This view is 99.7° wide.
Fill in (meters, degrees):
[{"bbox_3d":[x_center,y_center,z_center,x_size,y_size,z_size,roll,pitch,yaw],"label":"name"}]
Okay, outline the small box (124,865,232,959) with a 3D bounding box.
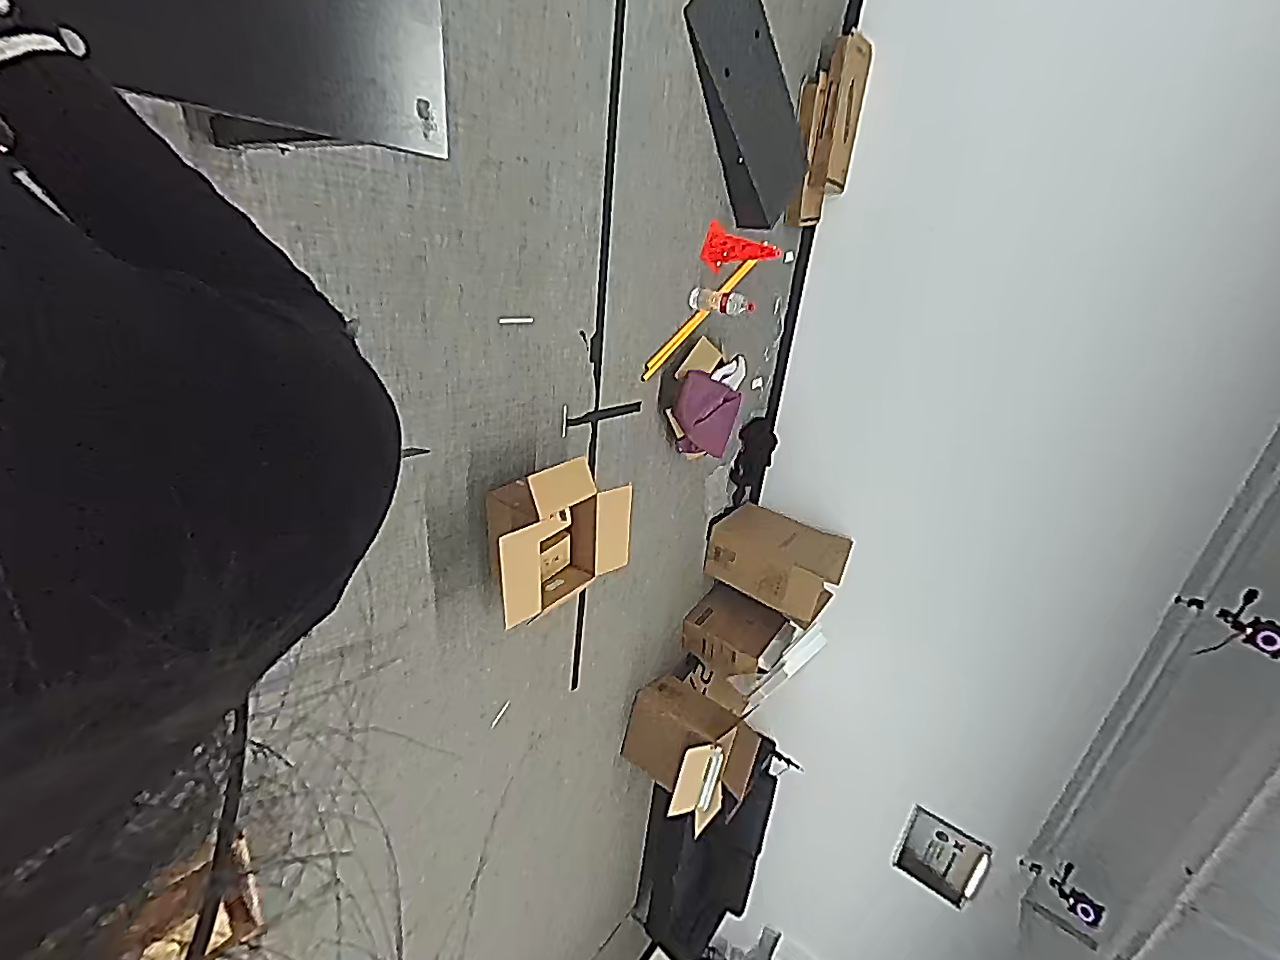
[{"bbox_3d":[-1.252,1.208,1.467,0.179,0.176,0.168,-19,121,-48],"label":"small box"}]
